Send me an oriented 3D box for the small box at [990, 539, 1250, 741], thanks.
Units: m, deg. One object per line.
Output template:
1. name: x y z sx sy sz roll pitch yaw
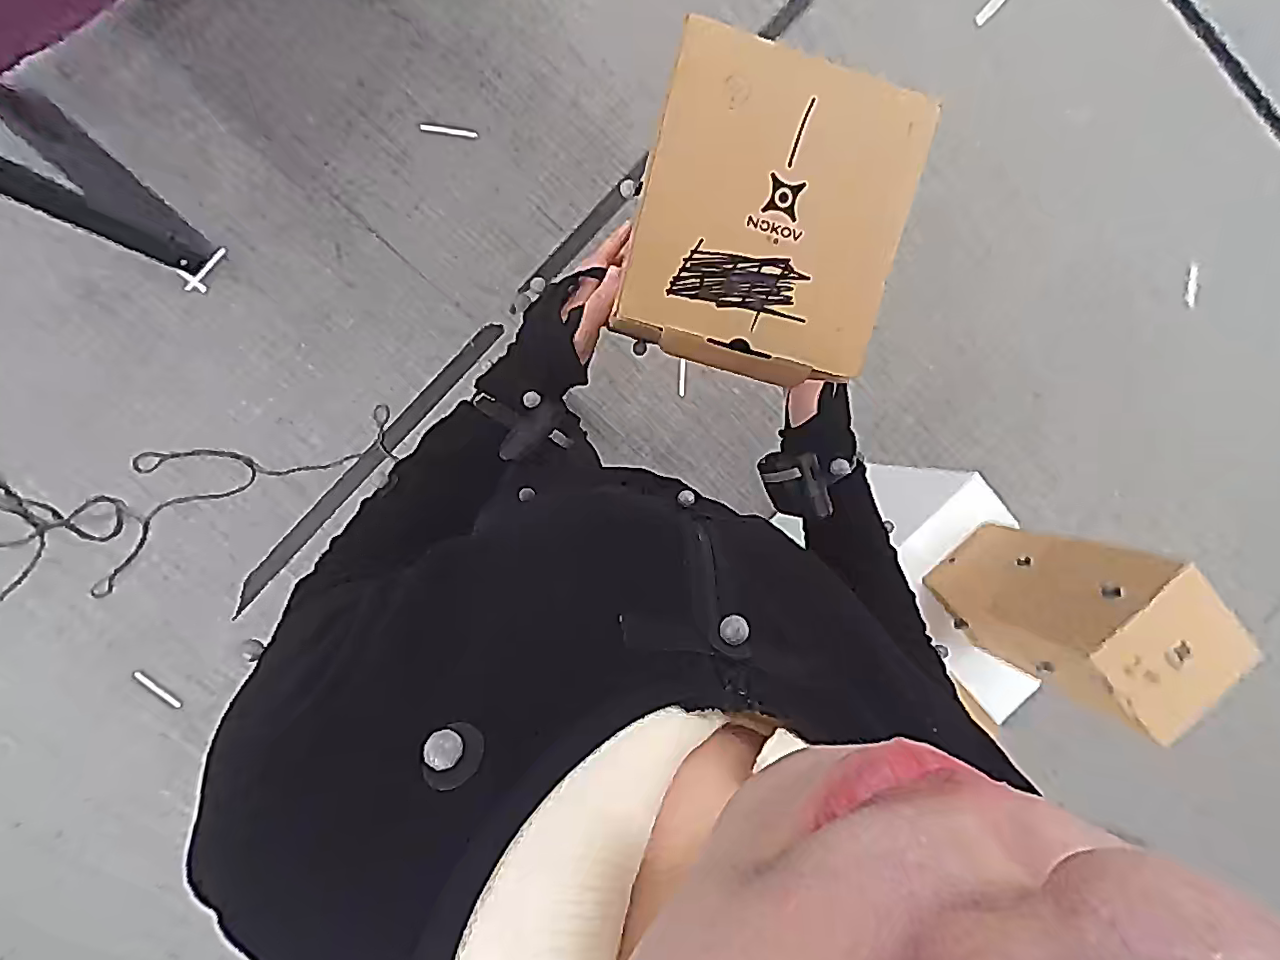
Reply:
1. small box: 0.640 0.203 0.742 0.179 0.176 0.168 -42 97 -1

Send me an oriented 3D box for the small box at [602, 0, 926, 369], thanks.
1. small box: 0.069 -0.190 0.411 0.168 0.176 0.179 13 101 -9

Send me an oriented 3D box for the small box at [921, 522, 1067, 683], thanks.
1. small box: 0.624 0.192 0.906 0.168 0.176 0.179 -41 99 -2
